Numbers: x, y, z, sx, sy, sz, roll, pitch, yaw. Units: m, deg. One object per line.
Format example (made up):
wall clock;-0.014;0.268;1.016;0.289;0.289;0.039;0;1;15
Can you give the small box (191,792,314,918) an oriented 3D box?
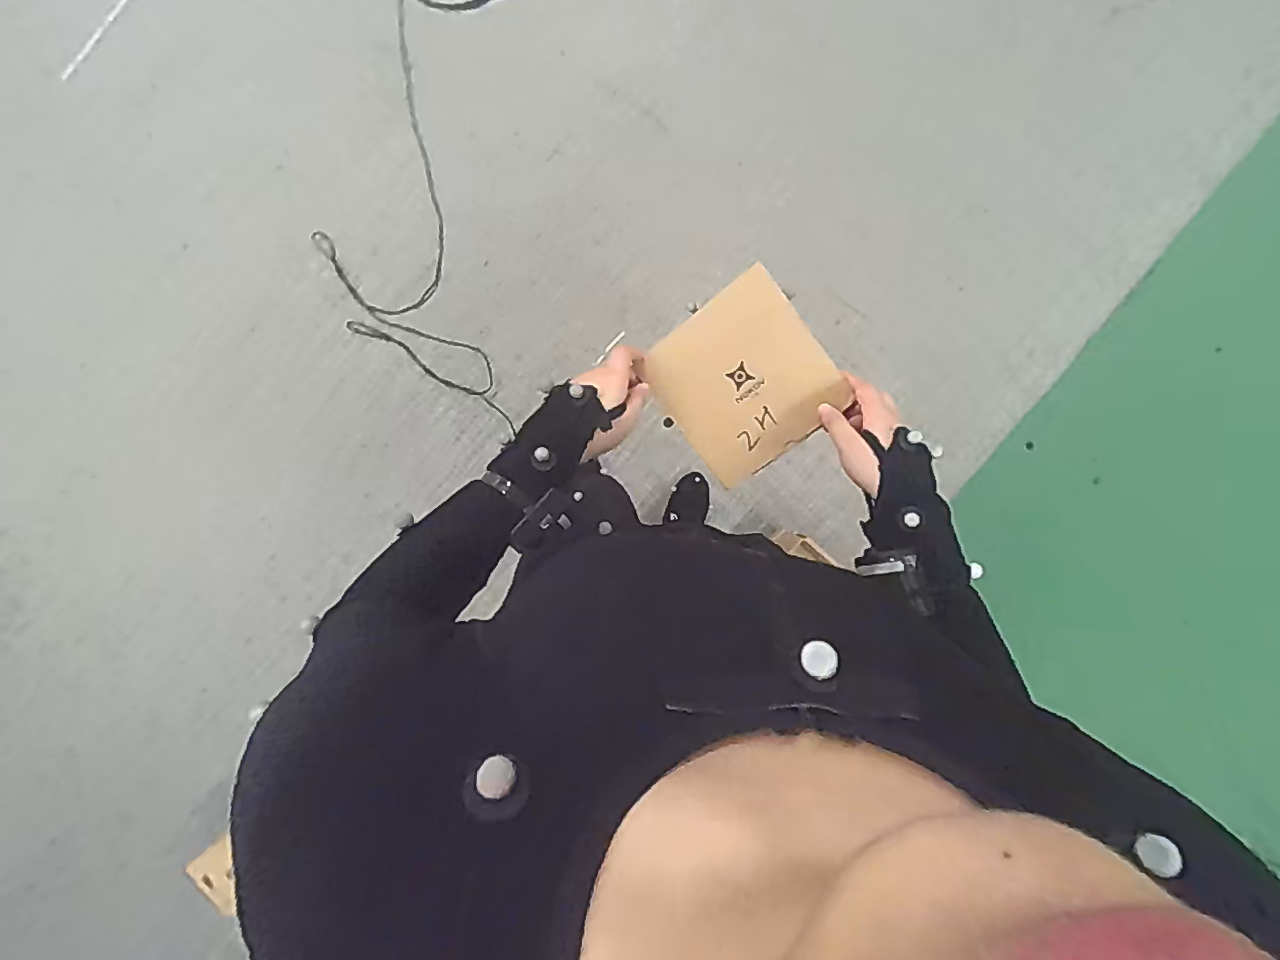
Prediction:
small box;-0.997;0.969;1.418;0.179;0.176;0.168;-37;93;0

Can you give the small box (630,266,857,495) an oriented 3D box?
small box;0.111;-0.115;0.627;0.168;0.176;0.179;-38;99;15
